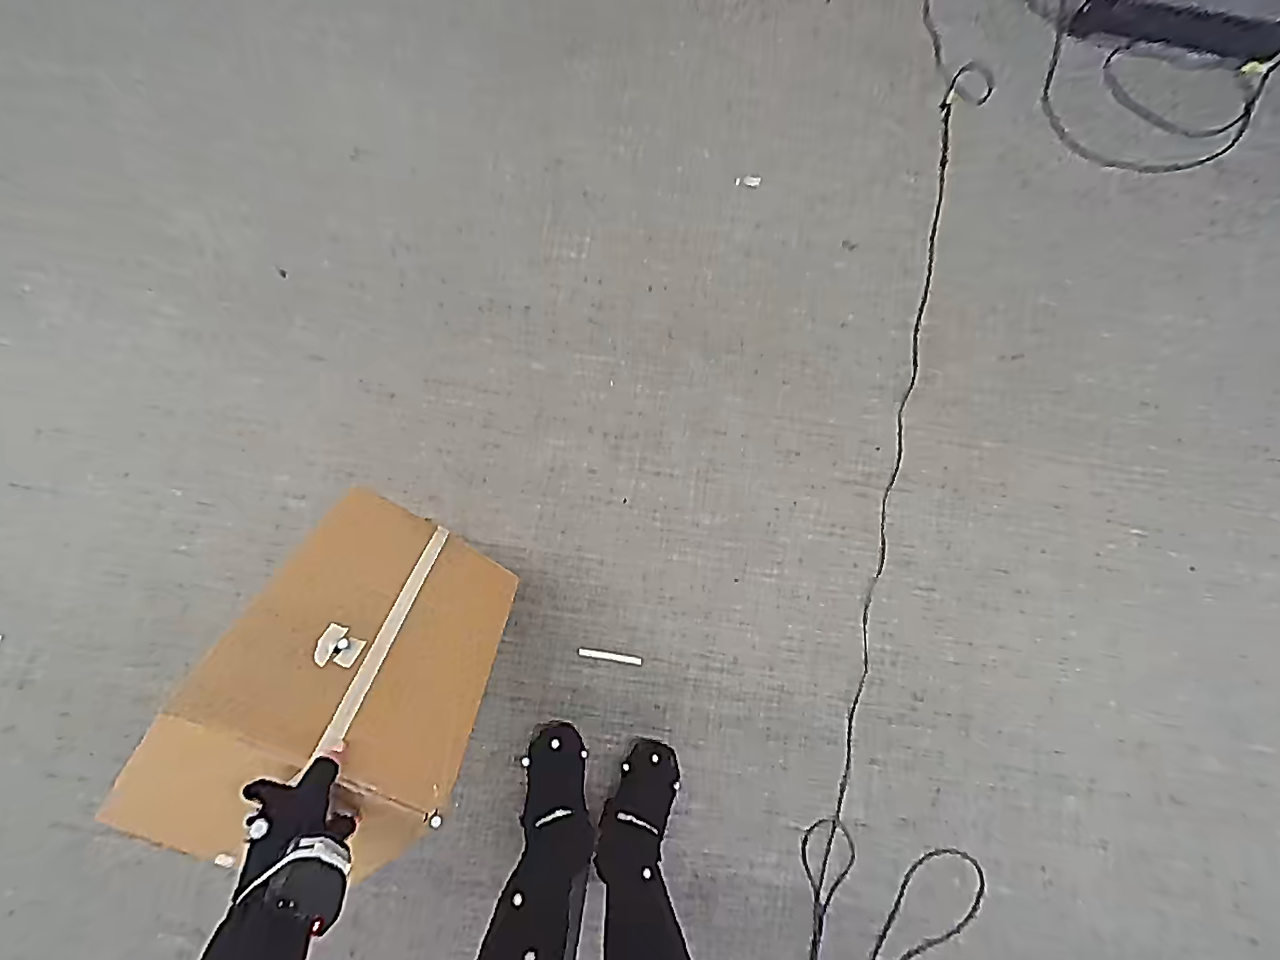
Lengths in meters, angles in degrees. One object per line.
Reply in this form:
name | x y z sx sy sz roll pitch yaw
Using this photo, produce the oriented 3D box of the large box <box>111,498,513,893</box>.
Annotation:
large box | -0.447 0.312 0.824 0.320 0.408 0.320 37 118 -19
